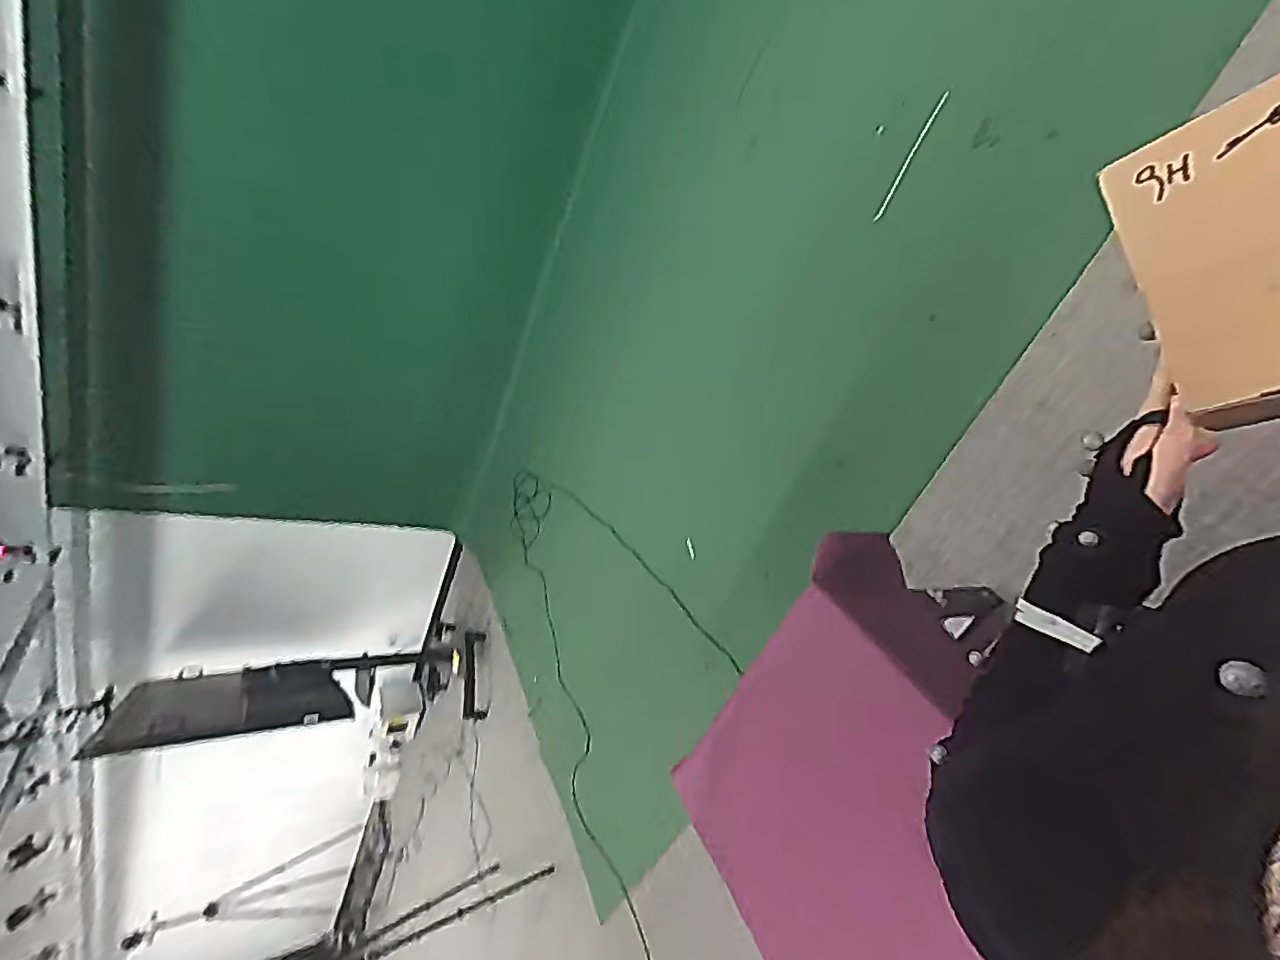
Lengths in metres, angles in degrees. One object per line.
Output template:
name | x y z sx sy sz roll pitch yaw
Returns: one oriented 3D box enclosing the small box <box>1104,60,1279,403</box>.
small box | 0.435 -0.153 0.338 0.168 0.176 0.179 -20 75 49
